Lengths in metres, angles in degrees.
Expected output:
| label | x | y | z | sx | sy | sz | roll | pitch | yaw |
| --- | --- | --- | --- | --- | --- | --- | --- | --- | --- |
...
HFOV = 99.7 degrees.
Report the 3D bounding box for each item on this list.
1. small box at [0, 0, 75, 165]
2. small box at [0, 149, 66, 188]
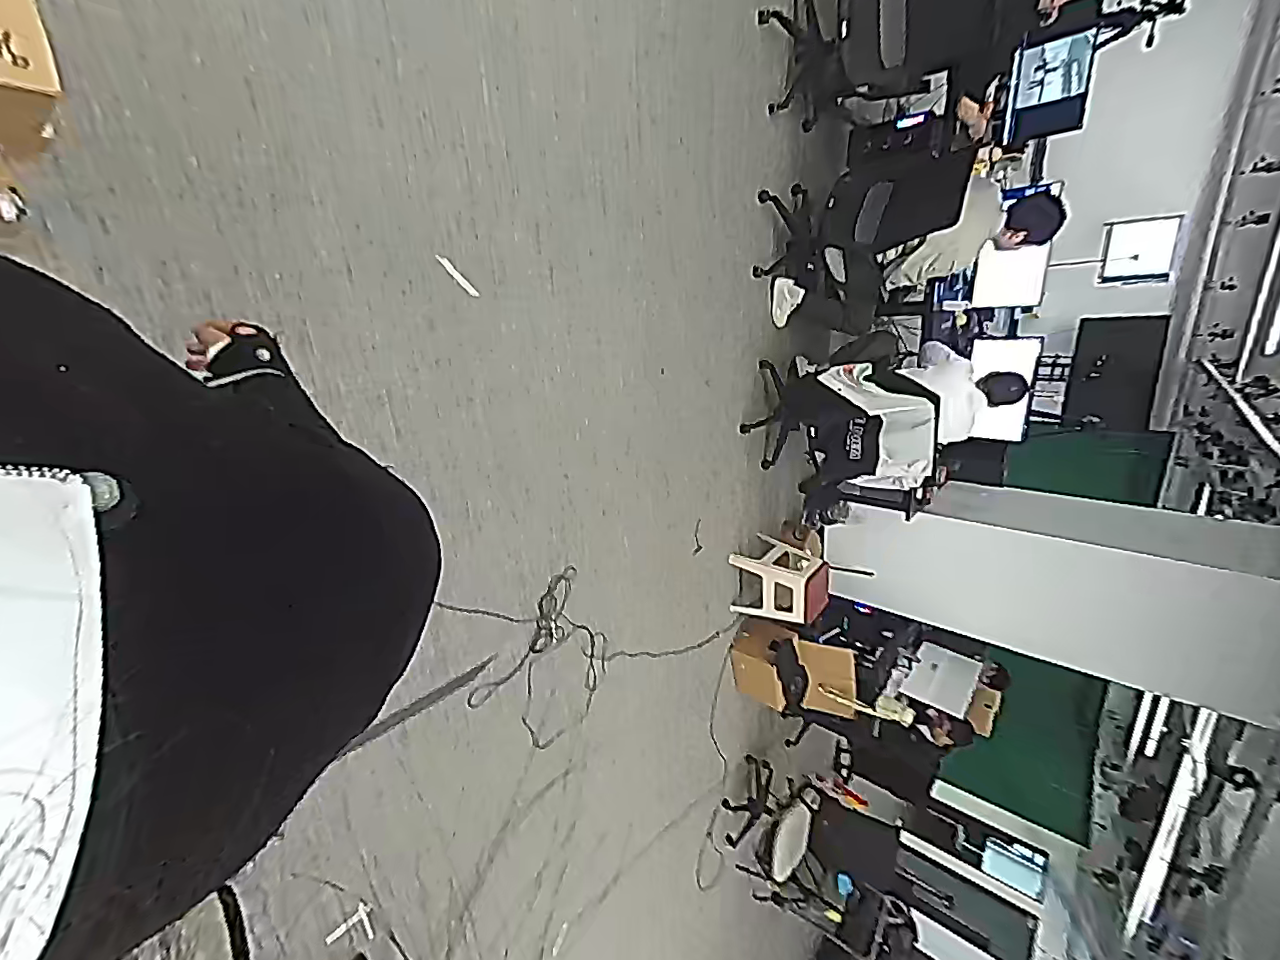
| label | x | y | z | sx | sy | sz | roll | pitch | yaw |
| --- | --- | --- | --- | --- | --- | --- | --- | --- | --- |
| small box | -0.625 | -0.388 | 0.450 | 0.168 | 0.176 | 0.179 | -23 | 117 | -48 |
| small box | -0.752 | -0.408 | 0.554 | 0.179 | 0.176 | 0.168 | -25 | 119 | -46 |
